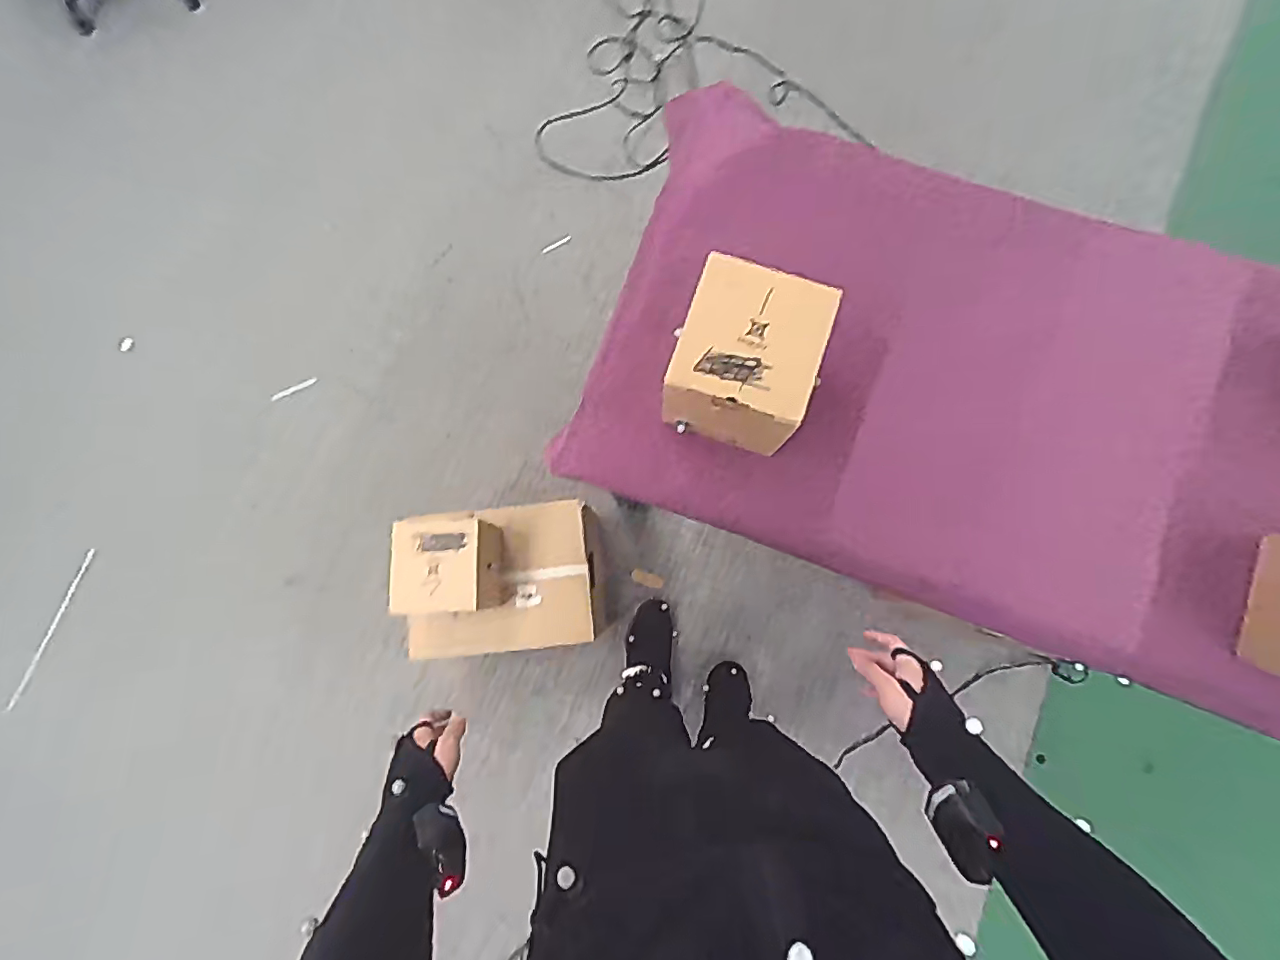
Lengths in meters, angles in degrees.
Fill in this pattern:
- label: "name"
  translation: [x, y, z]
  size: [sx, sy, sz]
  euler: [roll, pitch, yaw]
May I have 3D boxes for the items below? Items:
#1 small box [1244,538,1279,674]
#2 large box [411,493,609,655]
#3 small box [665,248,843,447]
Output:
- label: "small box"
  translation: [0.874, 0.163, 0.623]
  size: [0.168, 0.176, 0.179]
  euler: [23, 79, 8]
- label: "large box"
  translation: [-0.299, 0.228, 1.332]
  size: [0.408, 0.320, 0.320]
  euler: [-6, 81, 0]
- label: "small box"
  translation: [0.138, -0.160, 0.709]
  size: [0.168, 0.176, 0.179]
  euler: [19, 80, 5]
